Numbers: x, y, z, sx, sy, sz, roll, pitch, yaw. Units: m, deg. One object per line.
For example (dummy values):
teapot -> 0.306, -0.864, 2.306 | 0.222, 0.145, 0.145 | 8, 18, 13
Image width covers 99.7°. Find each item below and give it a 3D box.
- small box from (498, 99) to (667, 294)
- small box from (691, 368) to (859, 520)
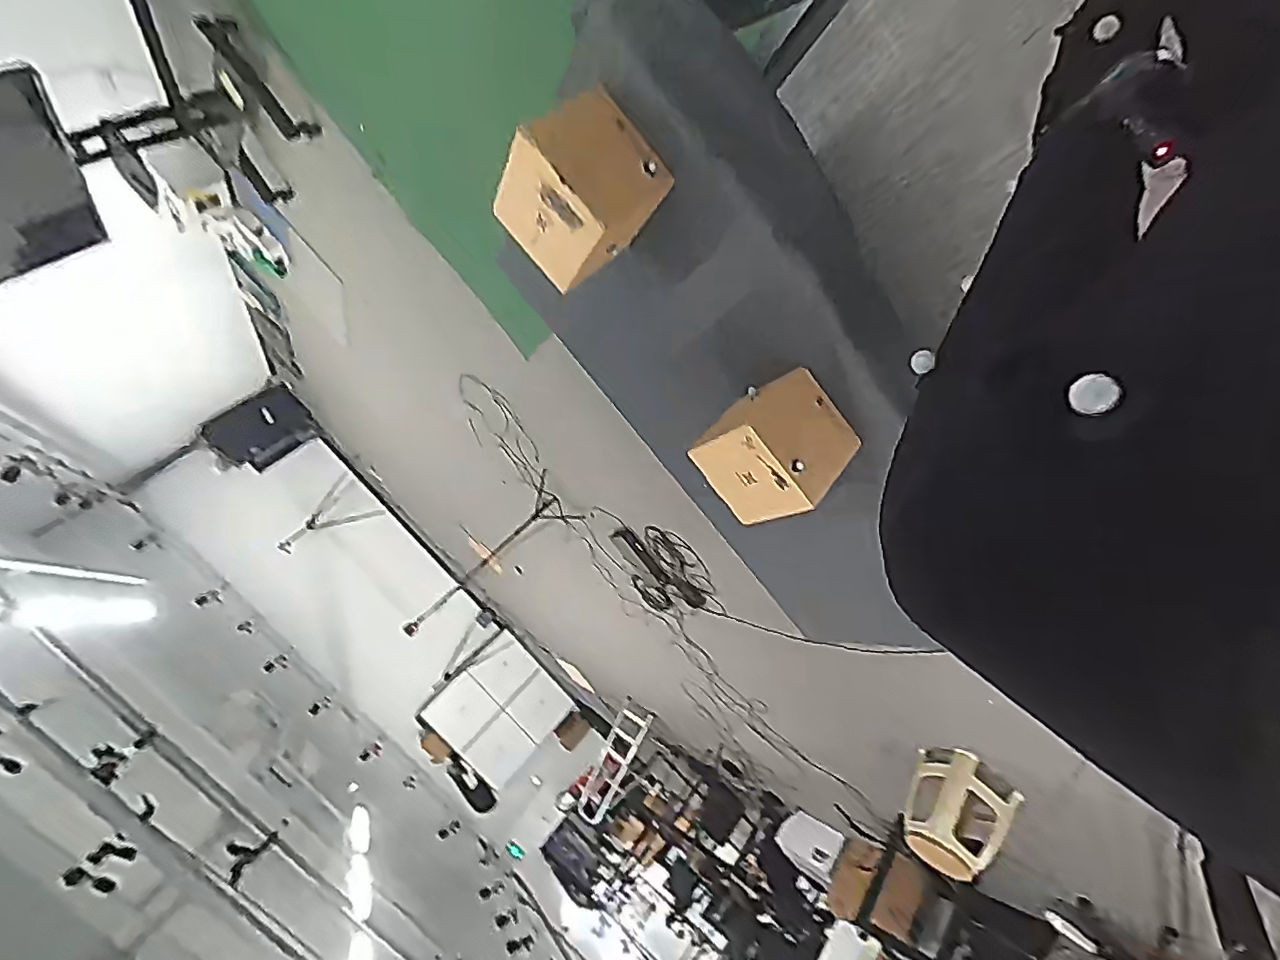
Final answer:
small box -> -0.083, -0.428, 0.823 | 0.168, 0.176, 0.179 | 48, 153, -10
small box -> 0.226, -0.056, 0.908 | 0.168, 0.176, 0.179 | 50, 153, -8
